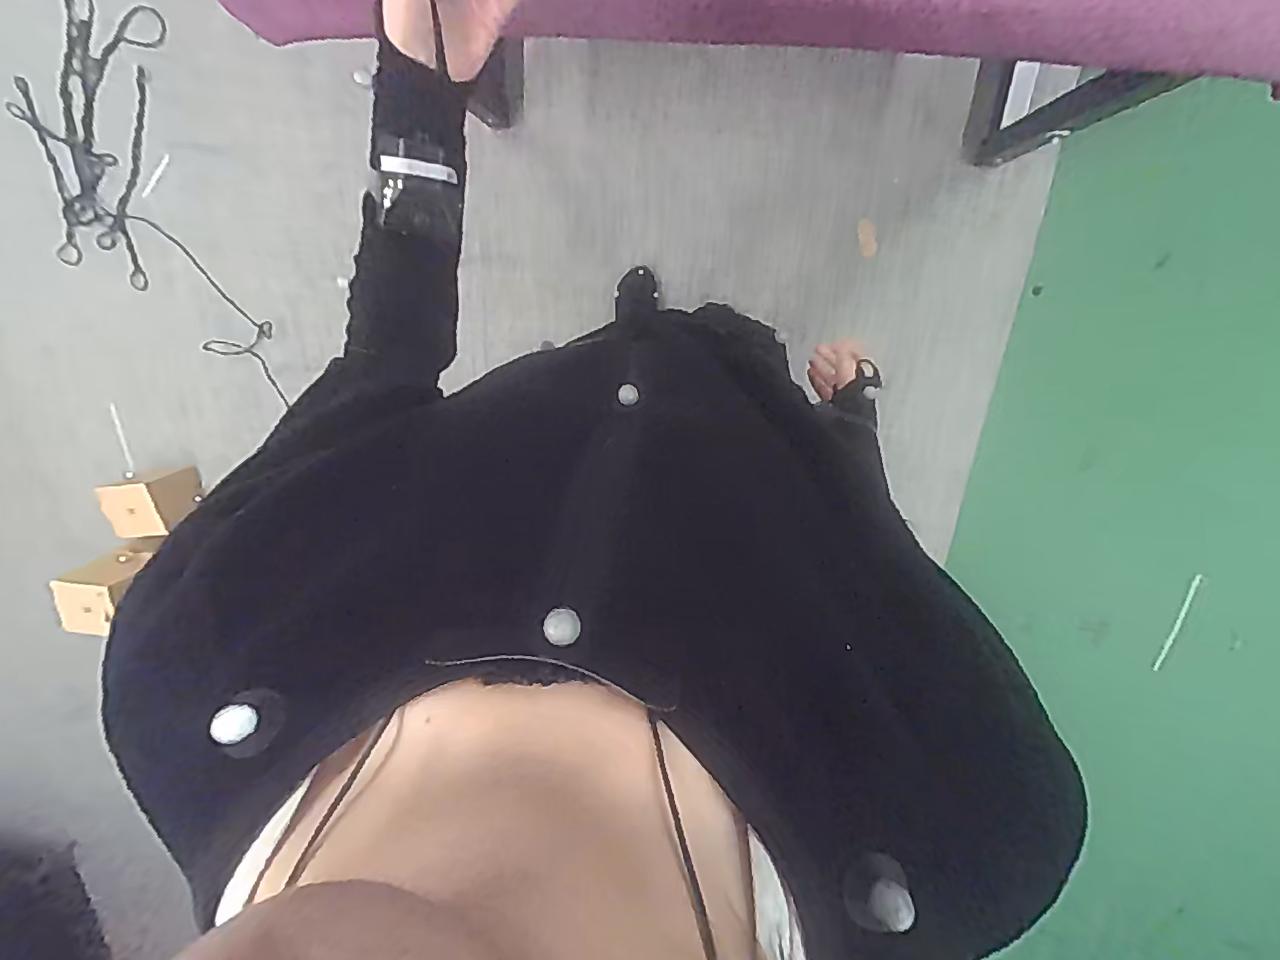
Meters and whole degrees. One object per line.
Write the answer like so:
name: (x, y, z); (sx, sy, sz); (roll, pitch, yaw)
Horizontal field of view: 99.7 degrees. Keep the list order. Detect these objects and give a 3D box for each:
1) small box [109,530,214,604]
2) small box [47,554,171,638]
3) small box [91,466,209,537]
small box: (-1.506, 0.267, 1.713); (0.168, 0.176, 0.179); (5, 110, 5)
small box: (-1.523, 0.327, 1.561); (0.179, 0.176, 0.168); (6, 110, 5)
small box: (-1.474, 0.062, 1.639); (0.179, 0.176, 0.168); (-5, 110, 7)
